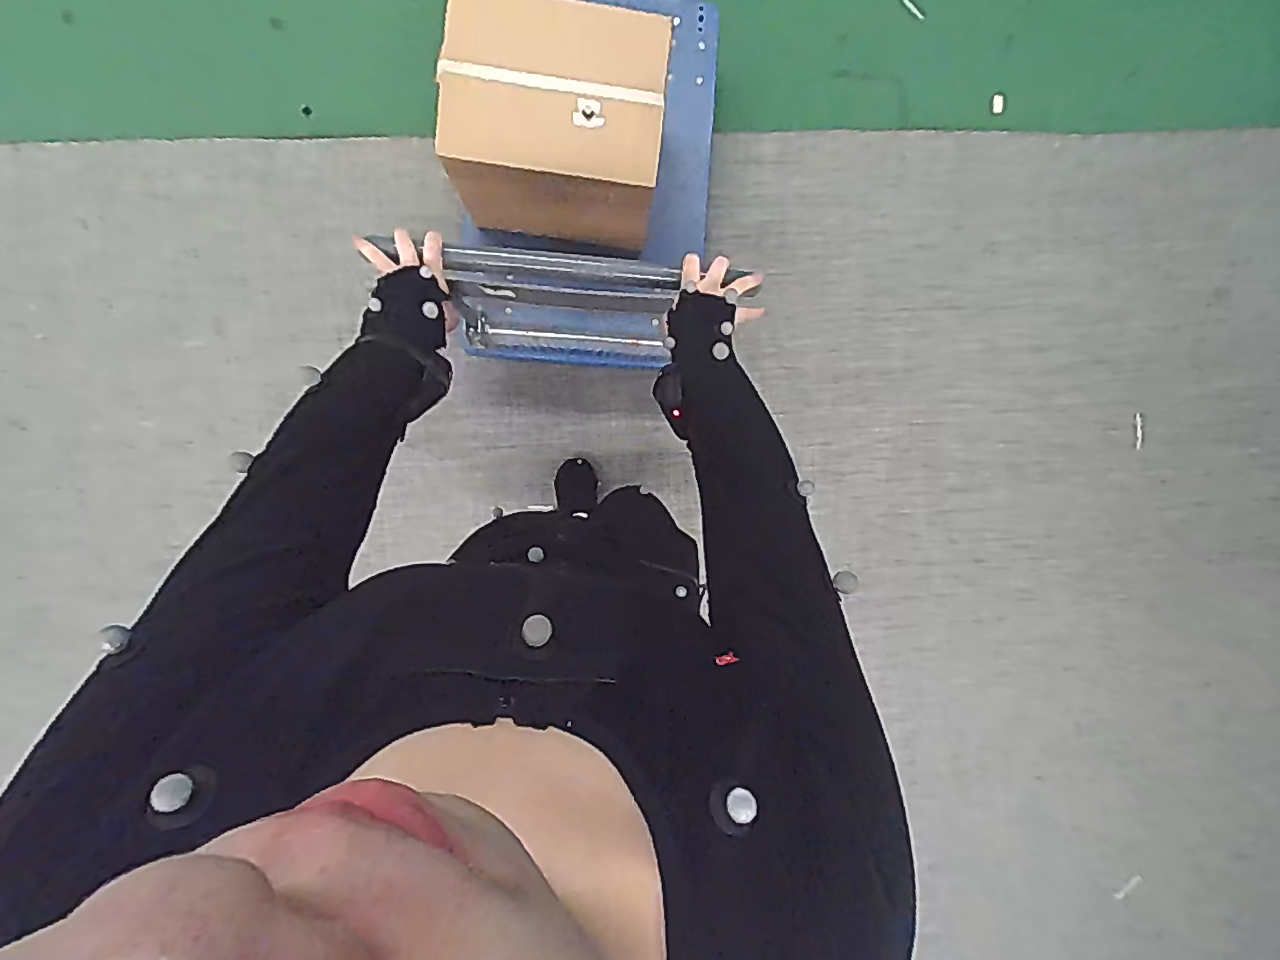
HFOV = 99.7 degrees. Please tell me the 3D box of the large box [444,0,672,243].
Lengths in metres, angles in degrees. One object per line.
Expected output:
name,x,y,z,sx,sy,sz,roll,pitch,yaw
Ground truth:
large box,-0.166,-0.737,1.147,0.408,0.320,0.320,6,92,-6
